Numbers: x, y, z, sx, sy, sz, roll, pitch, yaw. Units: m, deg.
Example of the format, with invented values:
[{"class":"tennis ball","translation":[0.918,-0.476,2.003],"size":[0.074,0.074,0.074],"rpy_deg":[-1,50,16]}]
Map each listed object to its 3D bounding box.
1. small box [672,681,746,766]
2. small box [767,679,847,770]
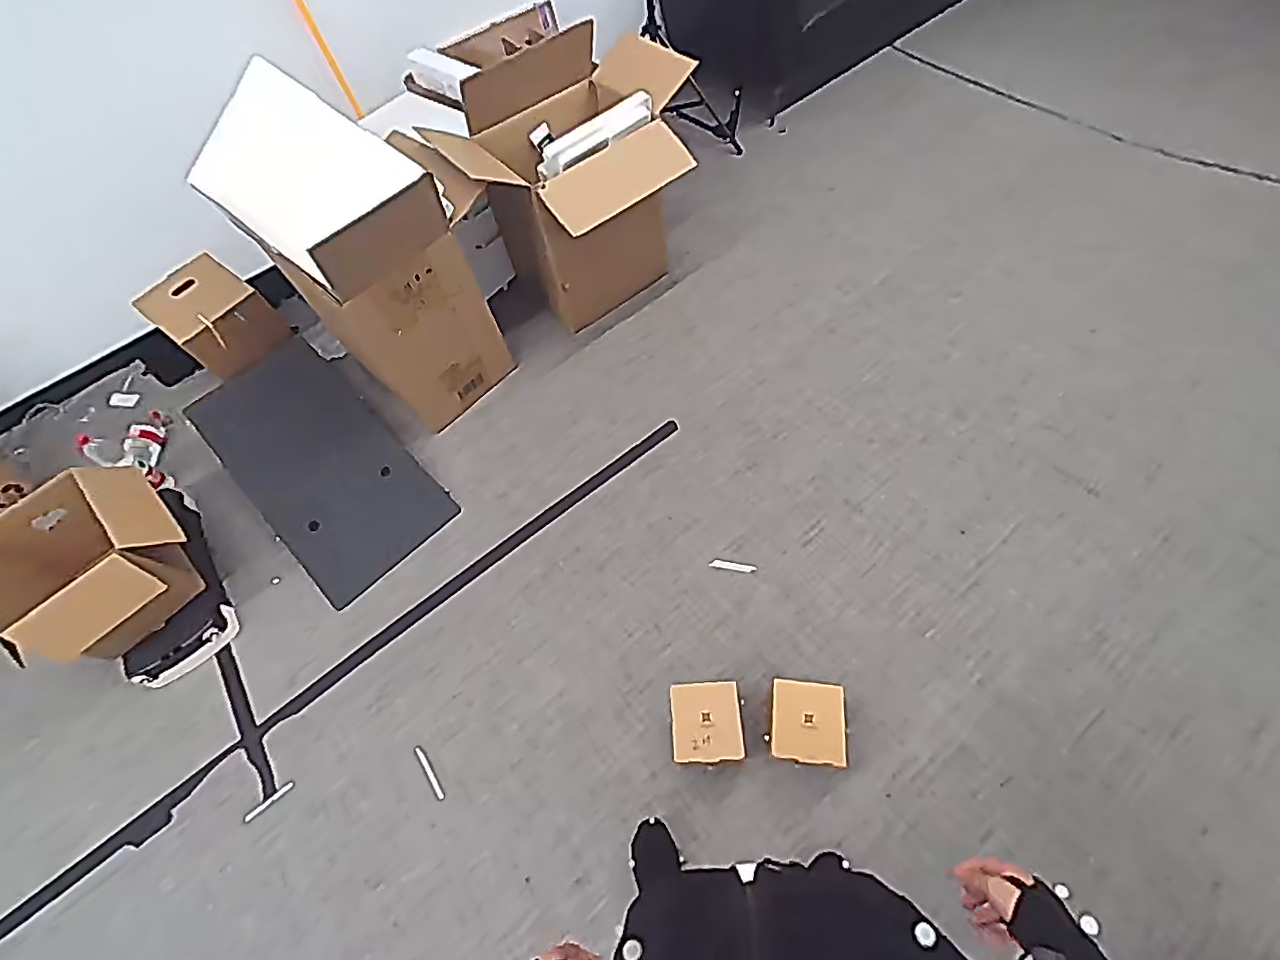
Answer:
[{"class":"small box","translation":[0.169,0.615,1.358],"size":[0.168,0.176,0.179],"rpy_deg":[-6,60,5]},{"class":"small box","translation":[0.405,0.605,1.335],"size":[0.168,0.176,0.179],"rpy_deg":[4,62,9]}]
